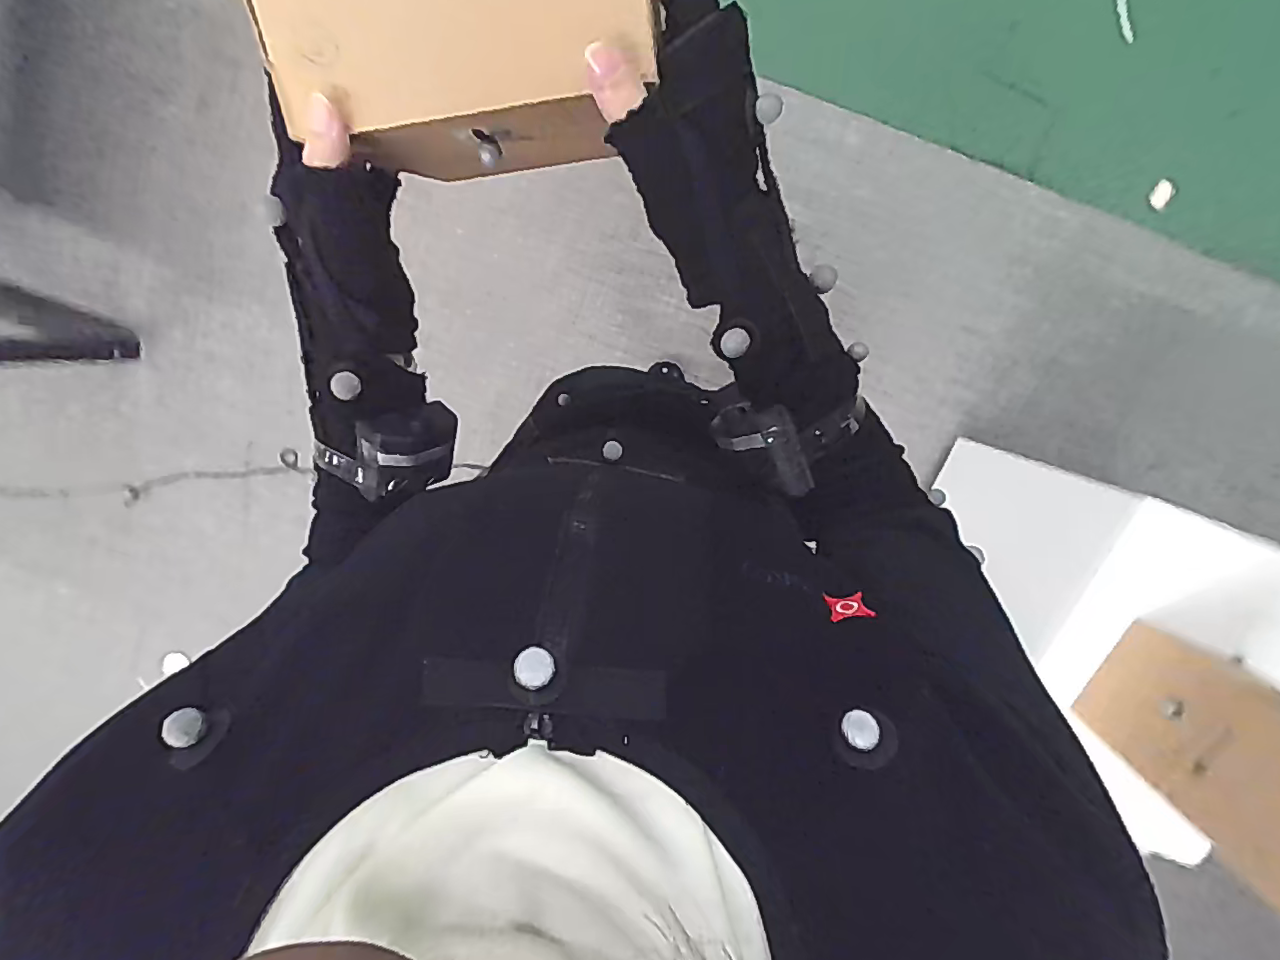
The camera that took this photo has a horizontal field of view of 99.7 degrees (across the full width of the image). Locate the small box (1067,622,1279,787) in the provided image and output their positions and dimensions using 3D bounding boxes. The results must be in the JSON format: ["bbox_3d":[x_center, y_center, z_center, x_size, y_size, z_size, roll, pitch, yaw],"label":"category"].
[{"bbox_3d":[0.750,0.328,0.743,0.168,0.176,0.179,24,105,0],"label":"small box"}]

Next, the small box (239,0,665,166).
[{"bbox_3d":[-0.087,-0.280,0.286,0.179,0.176,0.168,-4,113,9],"label":"small box"}]
